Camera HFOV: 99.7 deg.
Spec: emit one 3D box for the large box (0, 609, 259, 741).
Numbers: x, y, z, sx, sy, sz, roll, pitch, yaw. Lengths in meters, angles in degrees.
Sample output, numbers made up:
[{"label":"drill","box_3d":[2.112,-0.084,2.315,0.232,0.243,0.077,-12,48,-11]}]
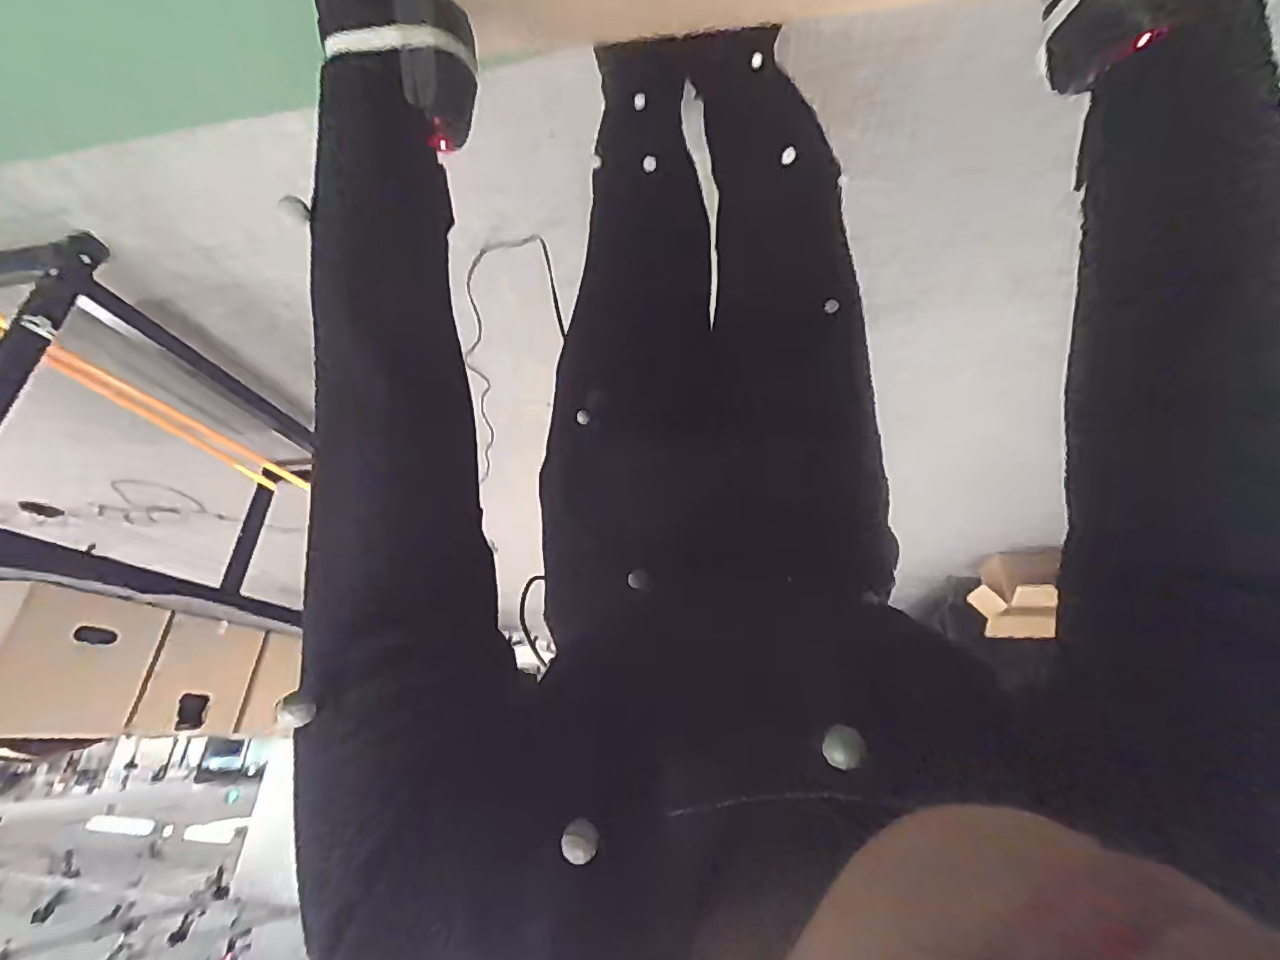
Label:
[{"label":"large box","box_3d":[-1.409,0.556,1.524,0.408,0.320,0.320,-4,154,11]}]
